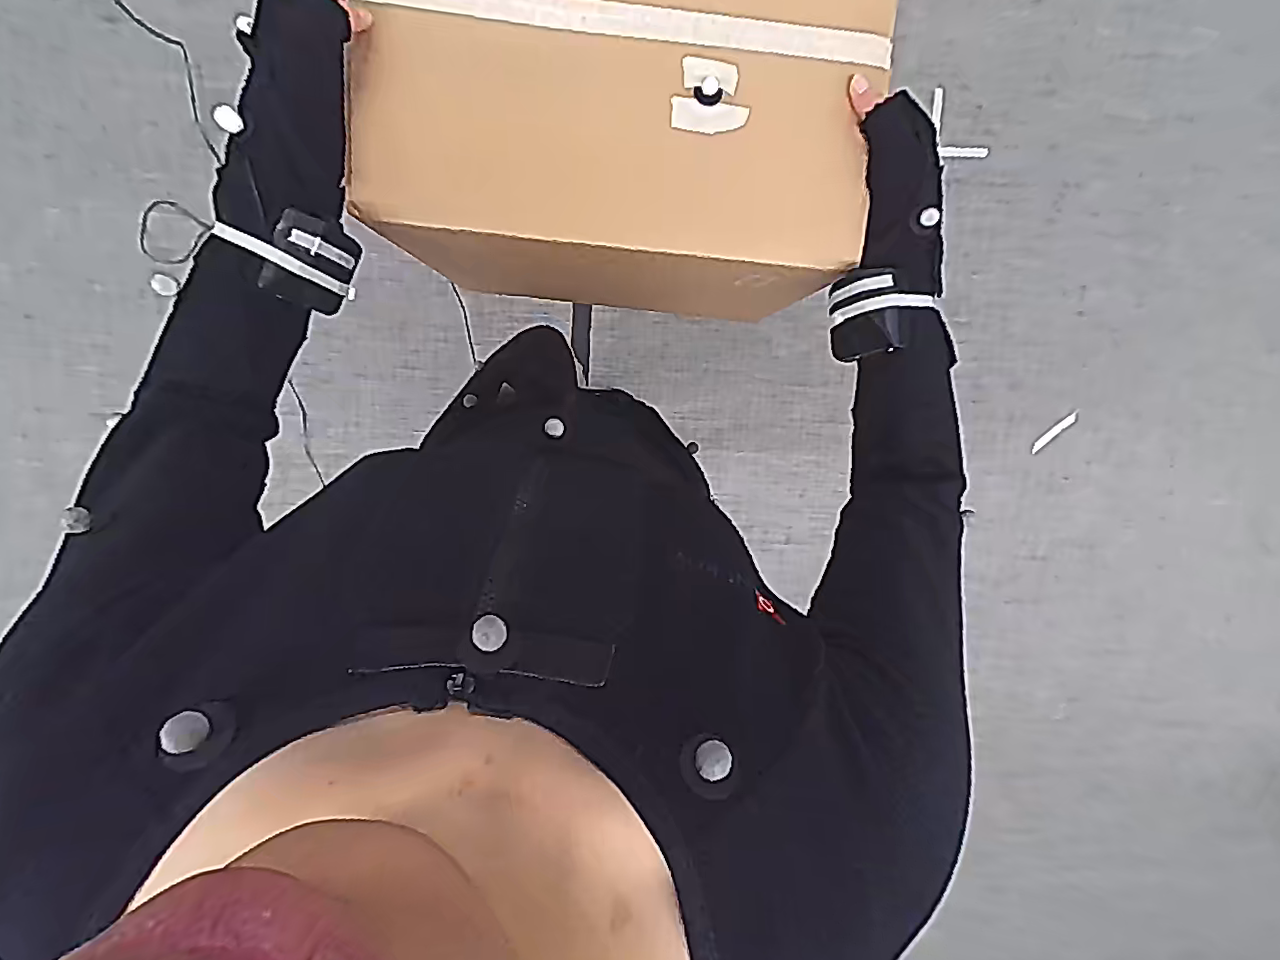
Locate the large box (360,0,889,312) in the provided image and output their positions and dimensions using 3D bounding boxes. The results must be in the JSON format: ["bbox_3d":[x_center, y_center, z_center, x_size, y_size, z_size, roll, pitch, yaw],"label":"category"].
[{"bbox_3d":[-0.017,-0.370,0.558,0.408,0.320,0.320,5,99,-4],"label":"large box"}]
